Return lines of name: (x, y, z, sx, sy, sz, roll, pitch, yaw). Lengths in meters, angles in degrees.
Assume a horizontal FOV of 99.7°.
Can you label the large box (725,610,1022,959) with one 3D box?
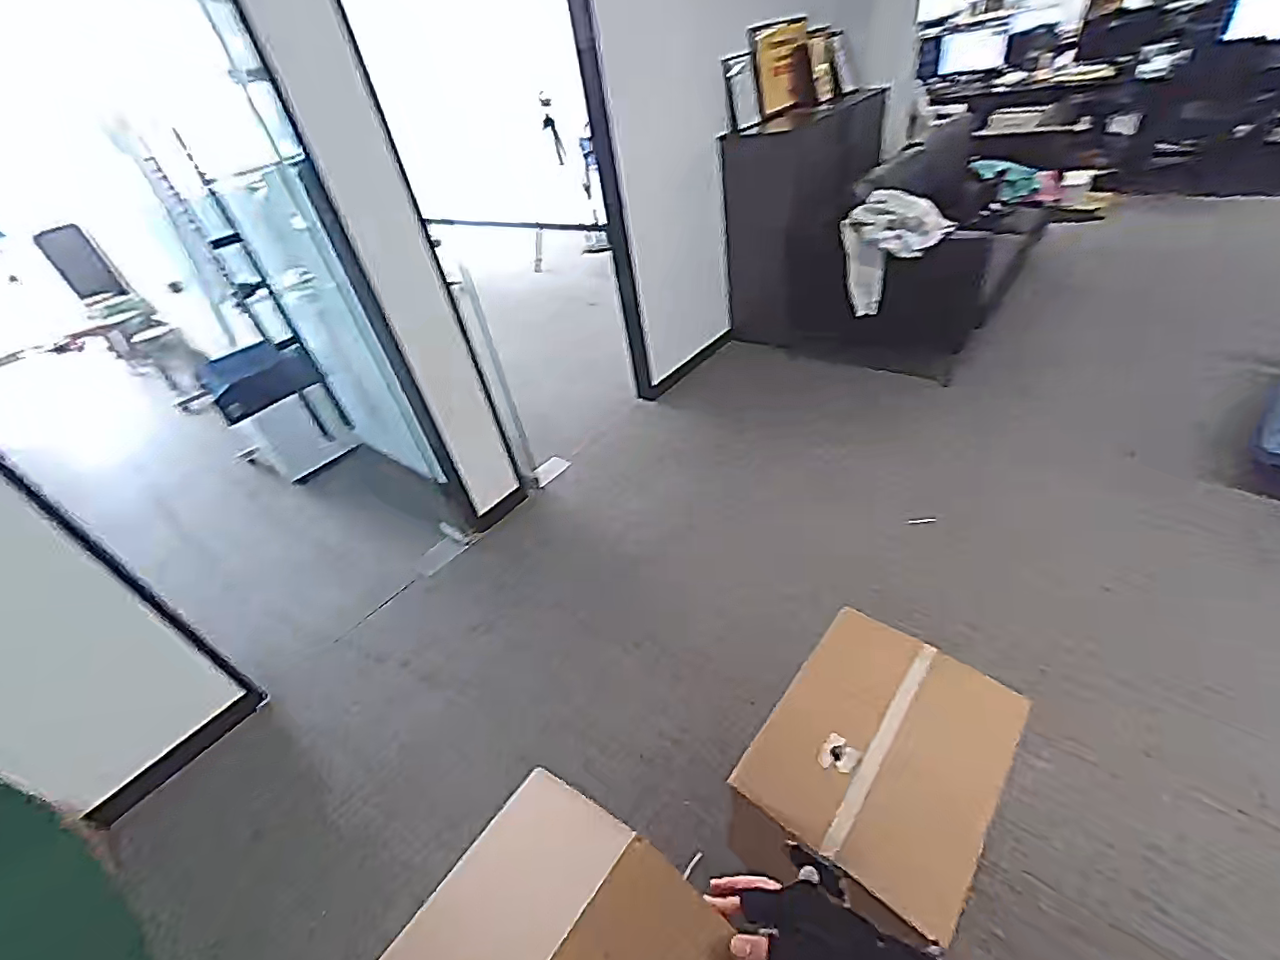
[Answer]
large box: (0.383, 0.517, 0.933, 0.320, 0.320, 0.408, 26, 51, 33)
